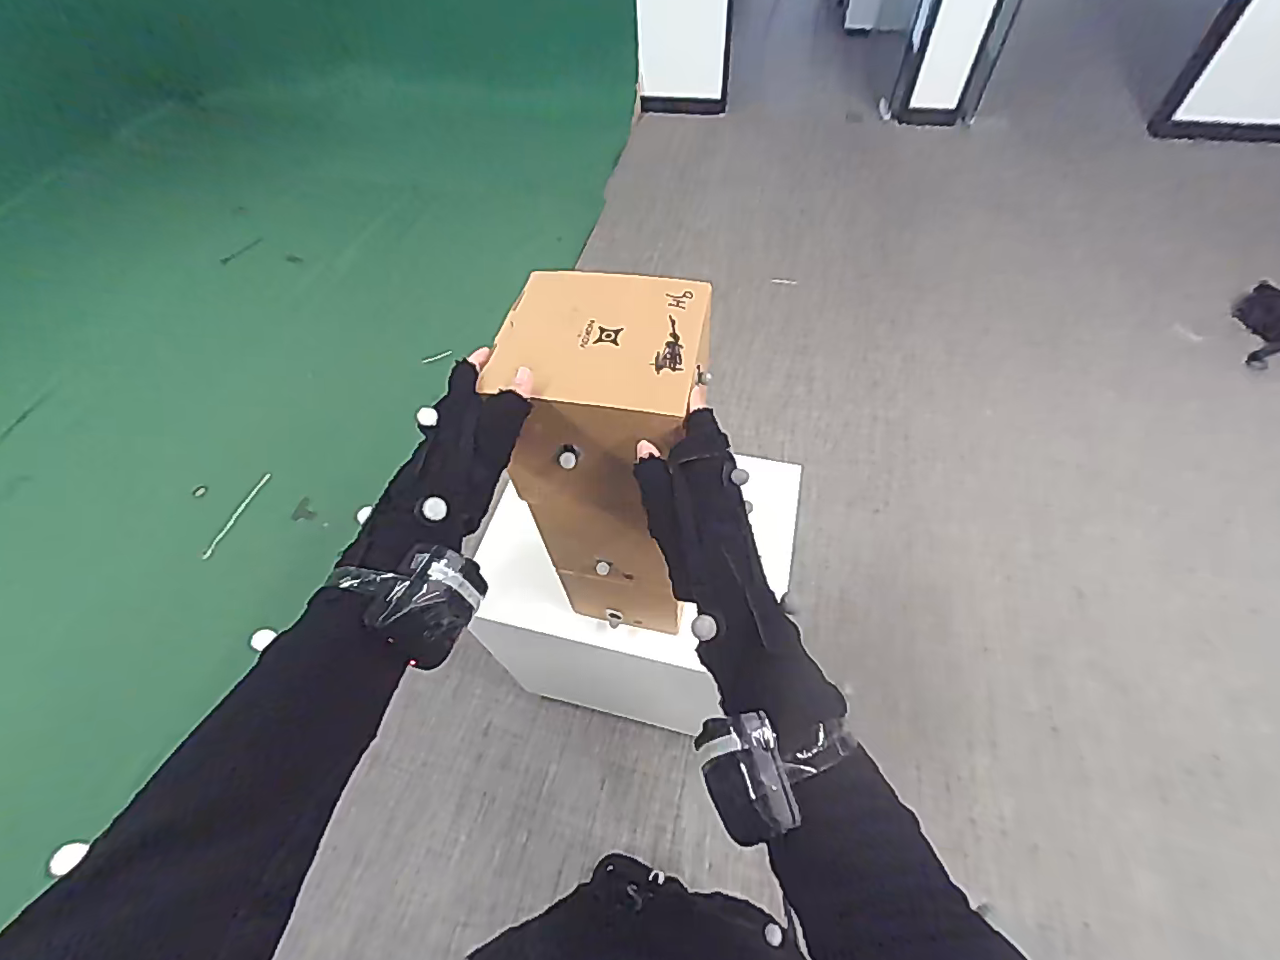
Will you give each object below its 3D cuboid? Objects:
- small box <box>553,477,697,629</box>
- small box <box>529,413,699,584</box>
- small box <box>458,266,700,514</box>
[{"bbox_3d":[-0.012,0.098,0.797,0.168,0.176,0.179,8,59,10],"label":"small box"},{"bbox_3d":[-0.023,0.004,0.663,0.168,0.176,0.179,7,55,9],"label":"small box"},{"bbox_3d":[-0.040,-0.082,0.525,0.179,0.176,0.168,7,57,10],"label":"small box"}]
